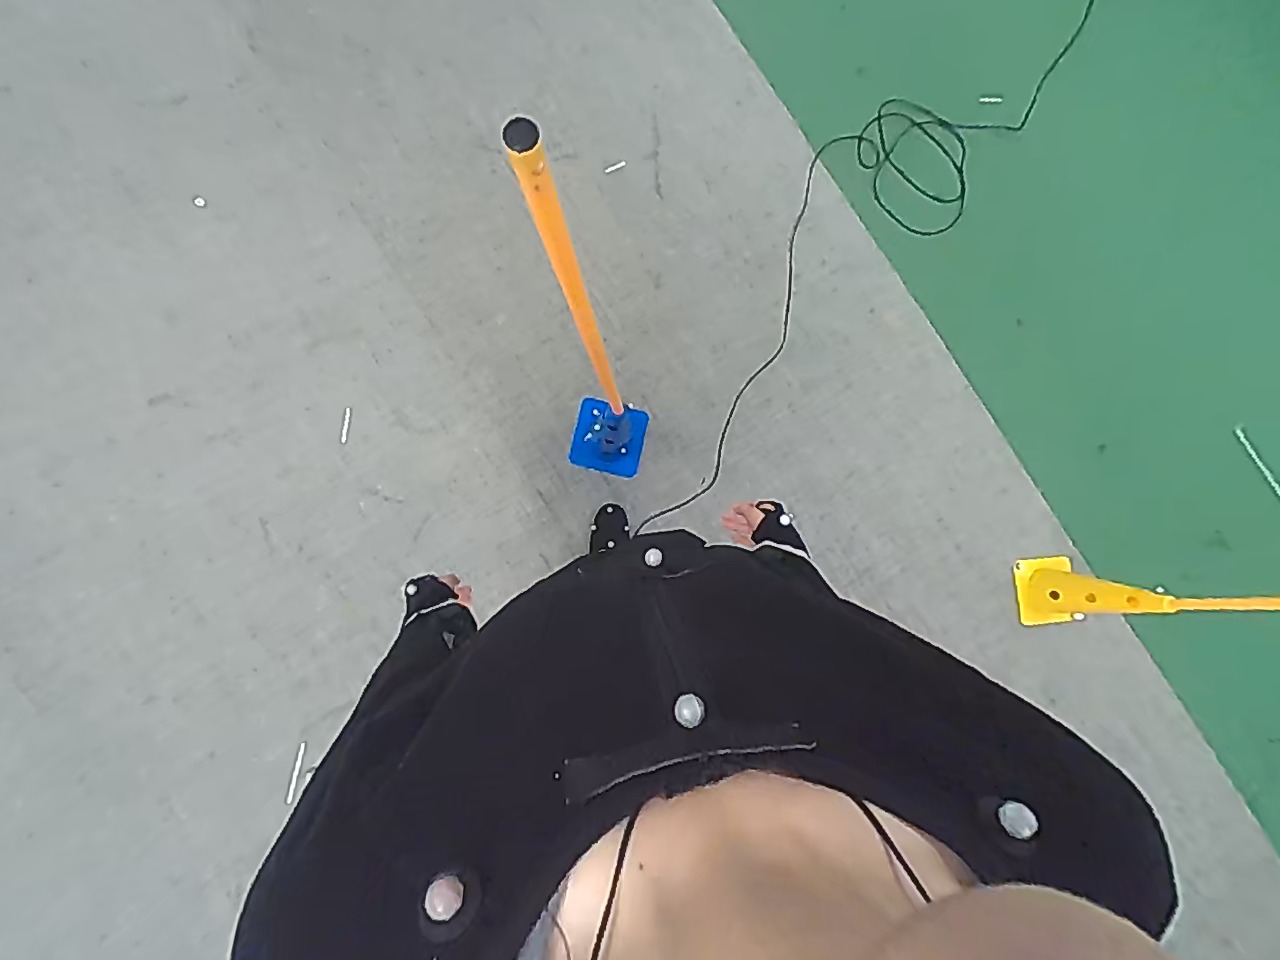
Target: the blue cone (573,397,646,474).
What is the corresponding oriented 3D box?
[{"bbox_3d":[-0.068,-0.134,1.355,0.193,0.380,0.192,12,83,-5],"label":"blue cone"}]
